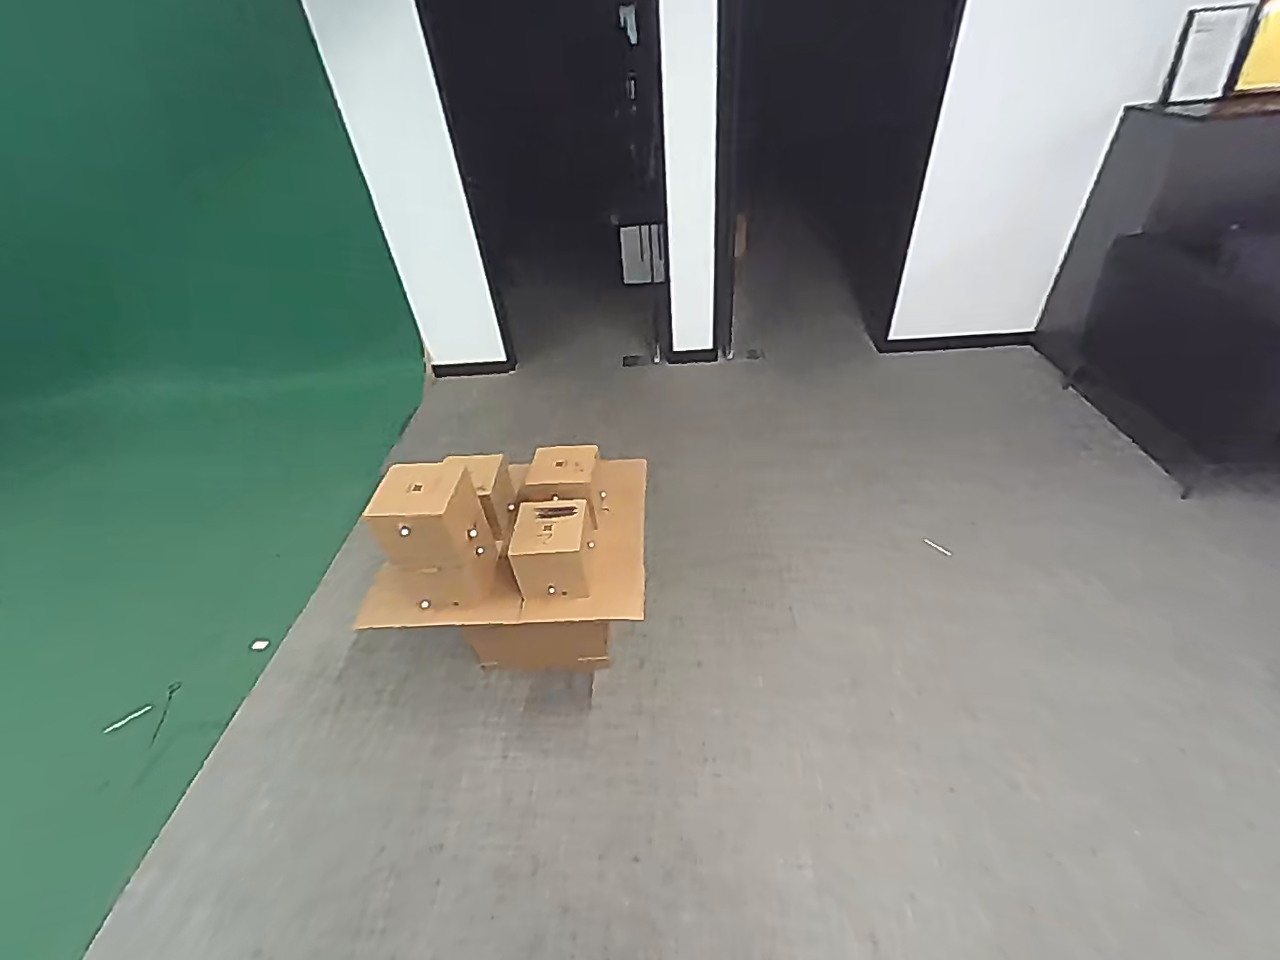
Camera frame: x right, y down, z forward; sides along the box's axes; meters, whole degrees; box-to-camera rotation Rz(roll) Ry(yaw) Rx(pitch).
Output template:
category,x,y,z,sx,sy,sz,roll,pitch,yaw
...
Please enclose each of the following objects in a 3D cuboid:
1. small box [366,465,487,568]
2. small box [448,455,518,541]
category,x,y,z,sx,sy,sz,roll,pitch,yaw
small box,-0.465,0.083,1.209,0.179,0.176,0.168,-1,41,6
small box,-0.446,0.052,1.496,0.168,0.176,0.179,-5,39,4
